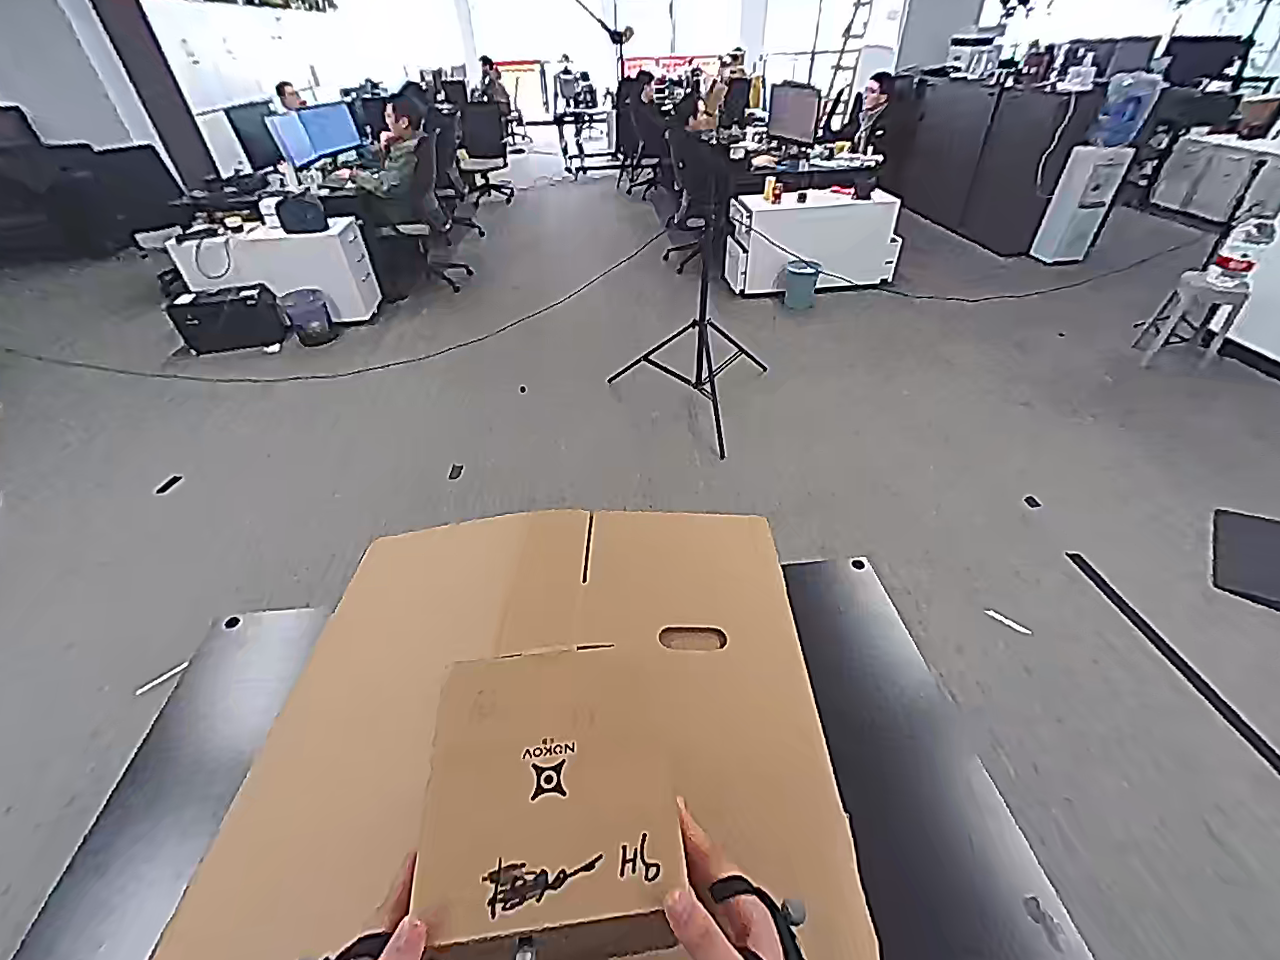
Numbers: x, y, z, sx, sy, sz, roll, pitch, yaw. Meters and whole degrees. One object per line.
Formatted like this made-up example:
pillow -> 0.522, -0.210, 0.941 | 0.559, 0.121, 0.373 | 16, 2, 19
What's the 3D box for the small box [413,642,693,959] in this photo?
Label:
small box -> -0.057, 0.256, 0.427 | 0.168, 0.176, 0.179 | -6, 43, -4
